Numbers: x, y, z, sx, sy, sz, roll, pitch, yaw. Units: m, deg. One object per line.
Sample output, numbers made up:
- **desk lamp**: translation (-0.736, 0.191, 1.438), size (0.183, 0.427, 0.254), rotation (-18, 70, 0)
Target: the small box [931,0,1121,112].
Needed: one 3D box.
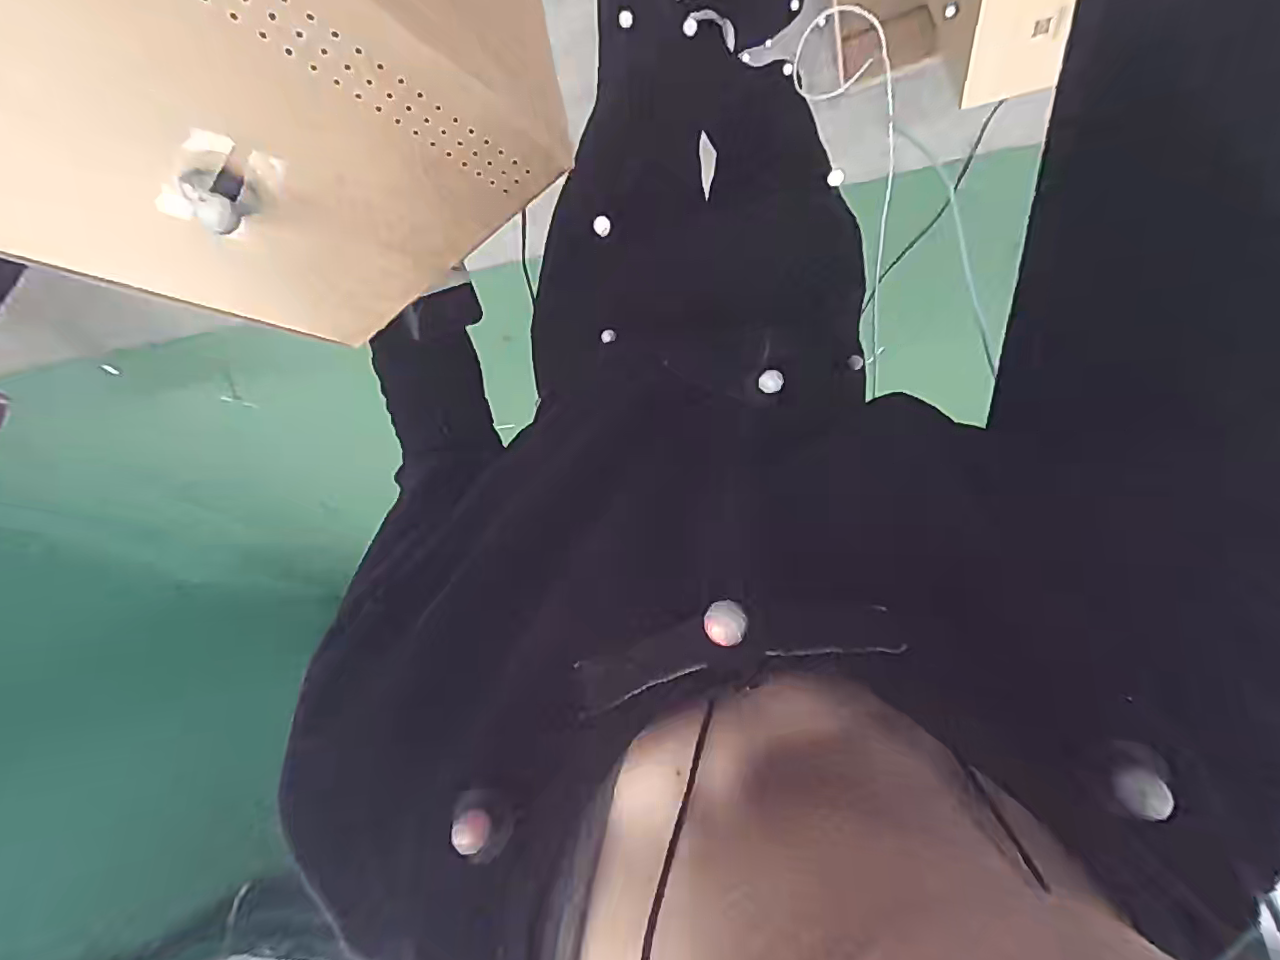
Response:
- **small box**: translation (0.510, -0.647, 0.726), size (0.179, 0.176, 0.168), rotation (-7, 154, 15)

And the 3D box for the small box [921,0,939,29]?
- **small box**: translation (0.510, -0.803, 0.784), size (0.168, 0.176, 0.179), rotation (-7, 153, 16)
